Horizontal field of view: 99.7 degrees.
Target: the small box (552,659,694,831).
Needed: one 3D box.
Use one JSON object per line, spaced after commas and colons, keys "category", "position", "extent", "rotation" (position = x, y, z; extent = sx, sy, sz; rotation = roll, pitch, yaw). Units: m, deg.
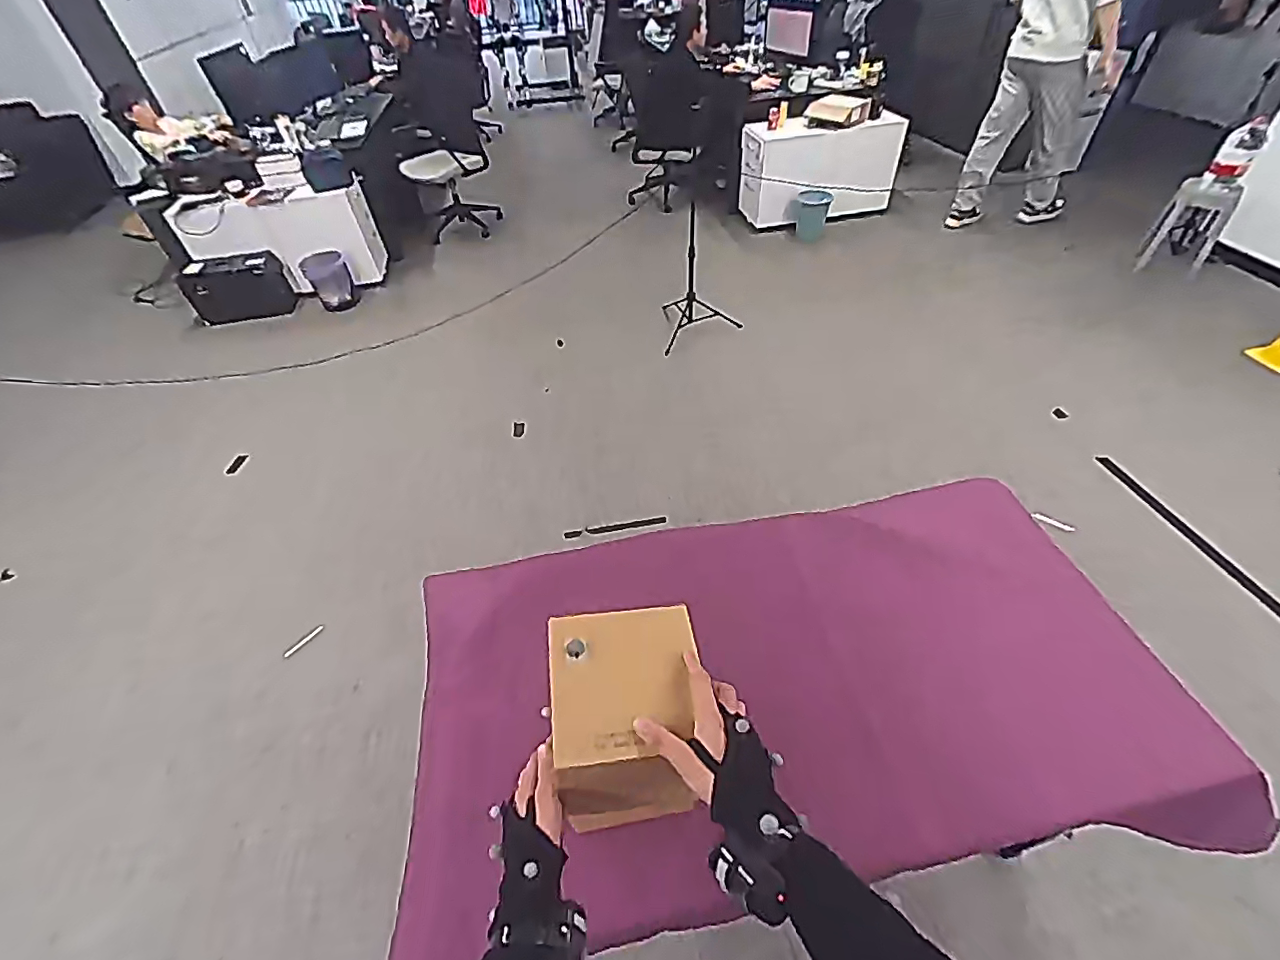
{"category": "small box", "position": [-0.026, 0.383, 0.780], "extent": [0.179, 0.176, 0.168], "rotation": [-9, 46, -4]}
